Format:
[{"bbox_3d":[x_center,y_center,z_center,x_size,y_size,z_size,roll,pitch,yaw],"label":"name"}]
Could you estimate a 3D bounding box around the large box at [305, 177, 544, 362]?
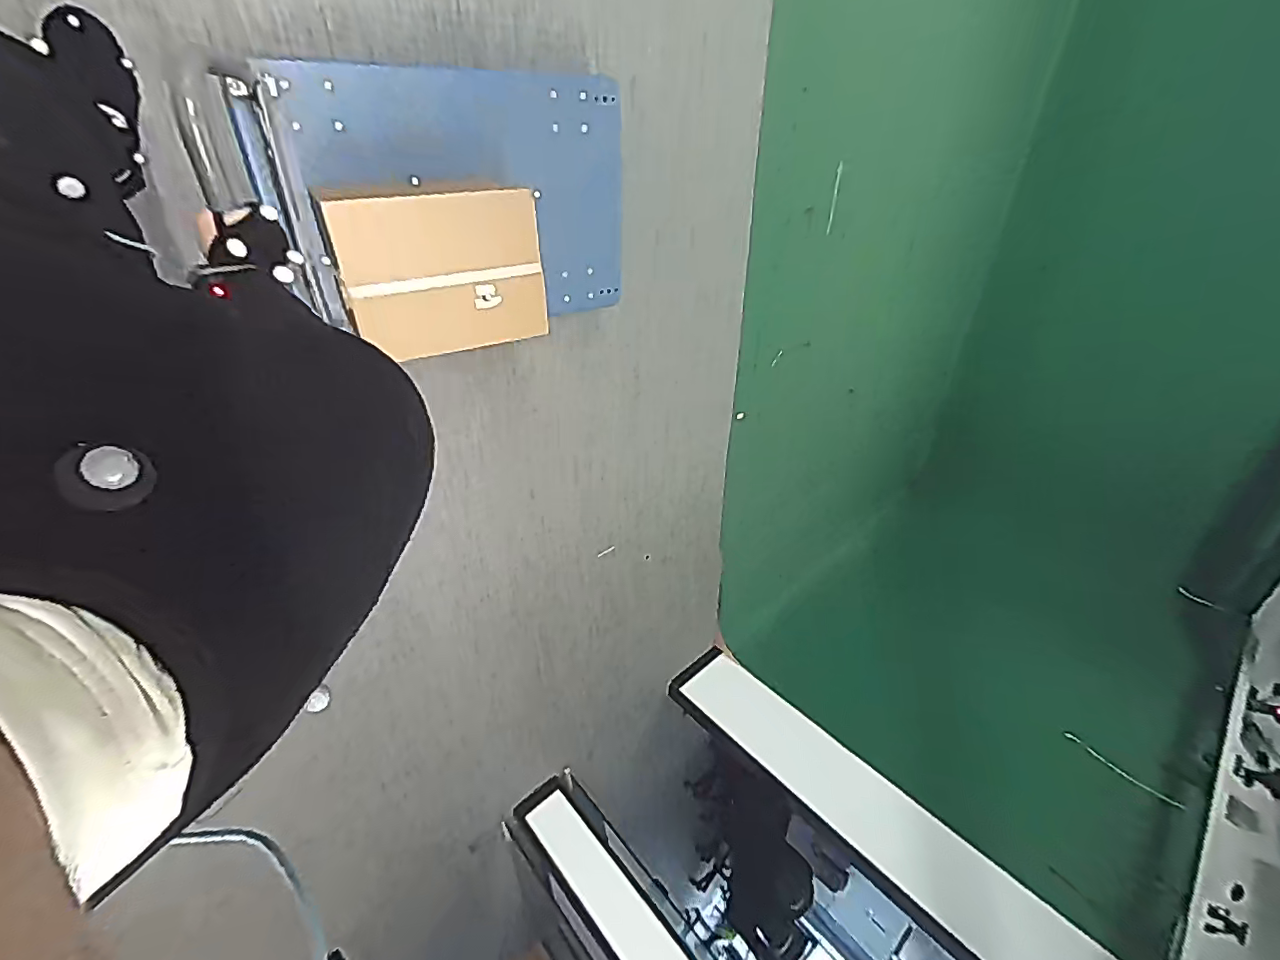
[{"bbox_3d":[-0.478,-0.496,1.226,0.408,0.320,0.320,-19,128,-25],"label":"large box"}]
